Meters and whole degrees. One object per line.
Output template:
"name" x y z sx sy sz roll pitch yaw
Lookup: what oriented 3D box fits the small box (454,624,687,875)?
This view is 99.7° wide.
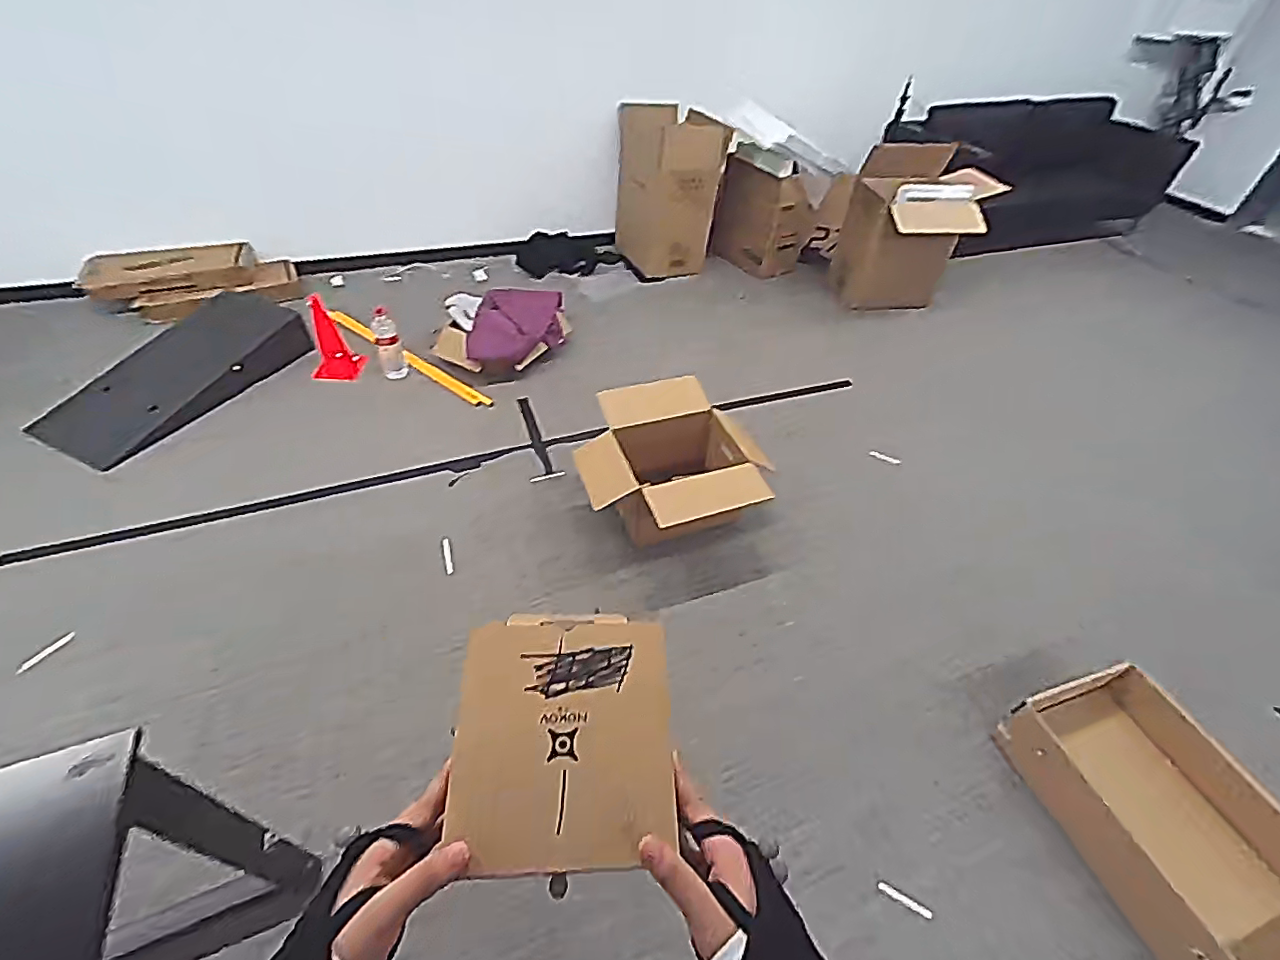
"small box" -0.057 0.245 0.488 0.168 0.176 0.179 0 54 -5
